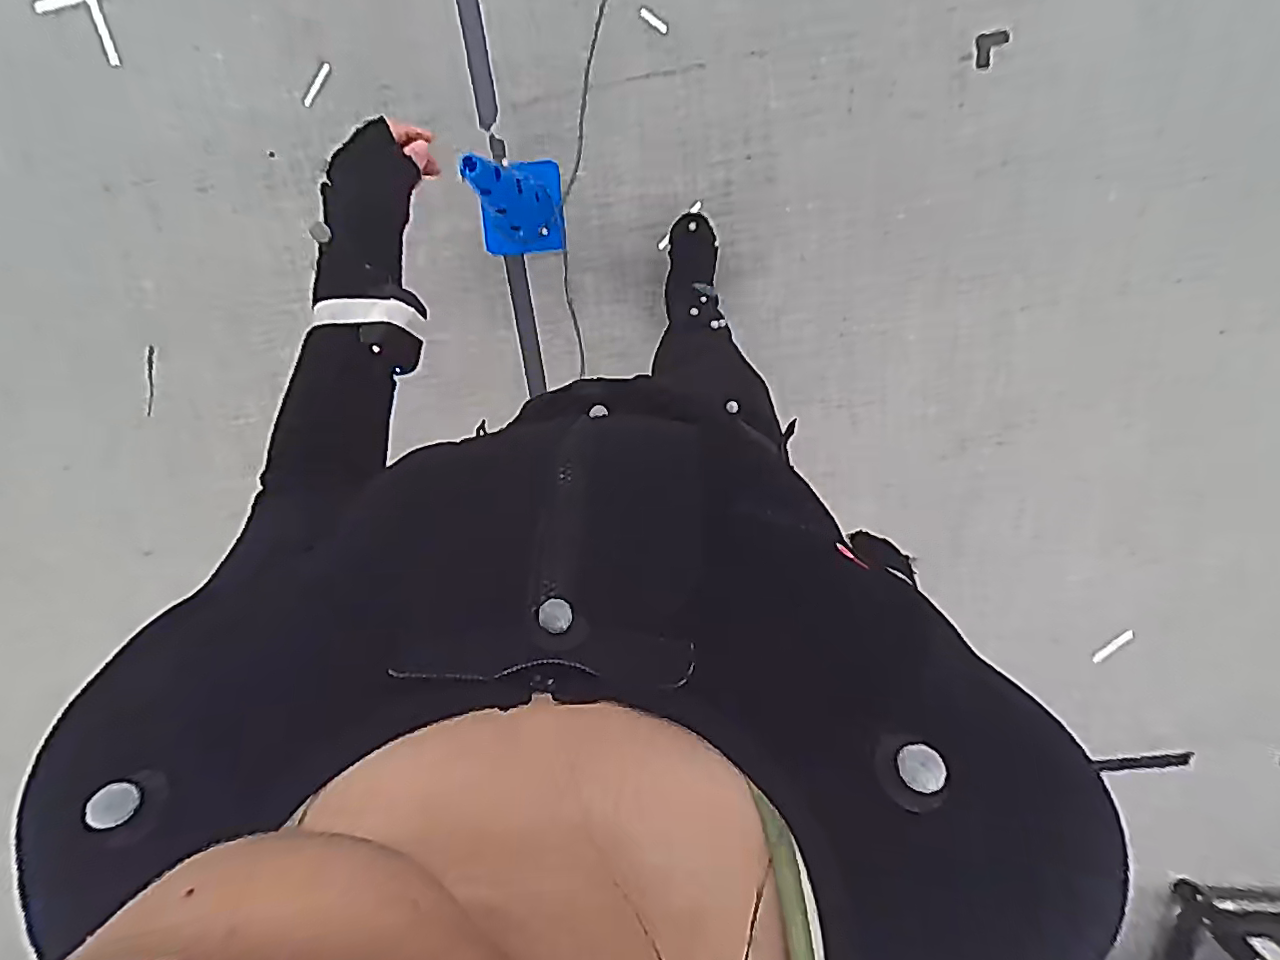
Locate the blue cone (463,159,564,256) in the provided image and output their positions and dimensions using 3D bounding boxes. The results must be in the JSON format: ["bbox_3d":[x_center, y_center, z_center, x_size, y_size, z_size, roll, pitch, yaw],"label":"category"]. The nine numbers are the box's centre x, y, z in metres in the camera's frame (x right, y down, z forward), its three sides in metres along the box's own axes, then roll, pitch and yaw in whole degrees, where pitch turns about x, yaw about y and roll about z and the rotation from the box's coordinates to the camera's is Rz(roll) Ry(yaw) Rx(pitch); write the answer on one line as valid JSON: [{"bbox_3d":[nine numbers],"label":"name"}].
[{"bbox_3d":[-0.290,-0.601,1.124,0.193,0.380,0.192,-4,105,3],"label":"blue cone"}]
